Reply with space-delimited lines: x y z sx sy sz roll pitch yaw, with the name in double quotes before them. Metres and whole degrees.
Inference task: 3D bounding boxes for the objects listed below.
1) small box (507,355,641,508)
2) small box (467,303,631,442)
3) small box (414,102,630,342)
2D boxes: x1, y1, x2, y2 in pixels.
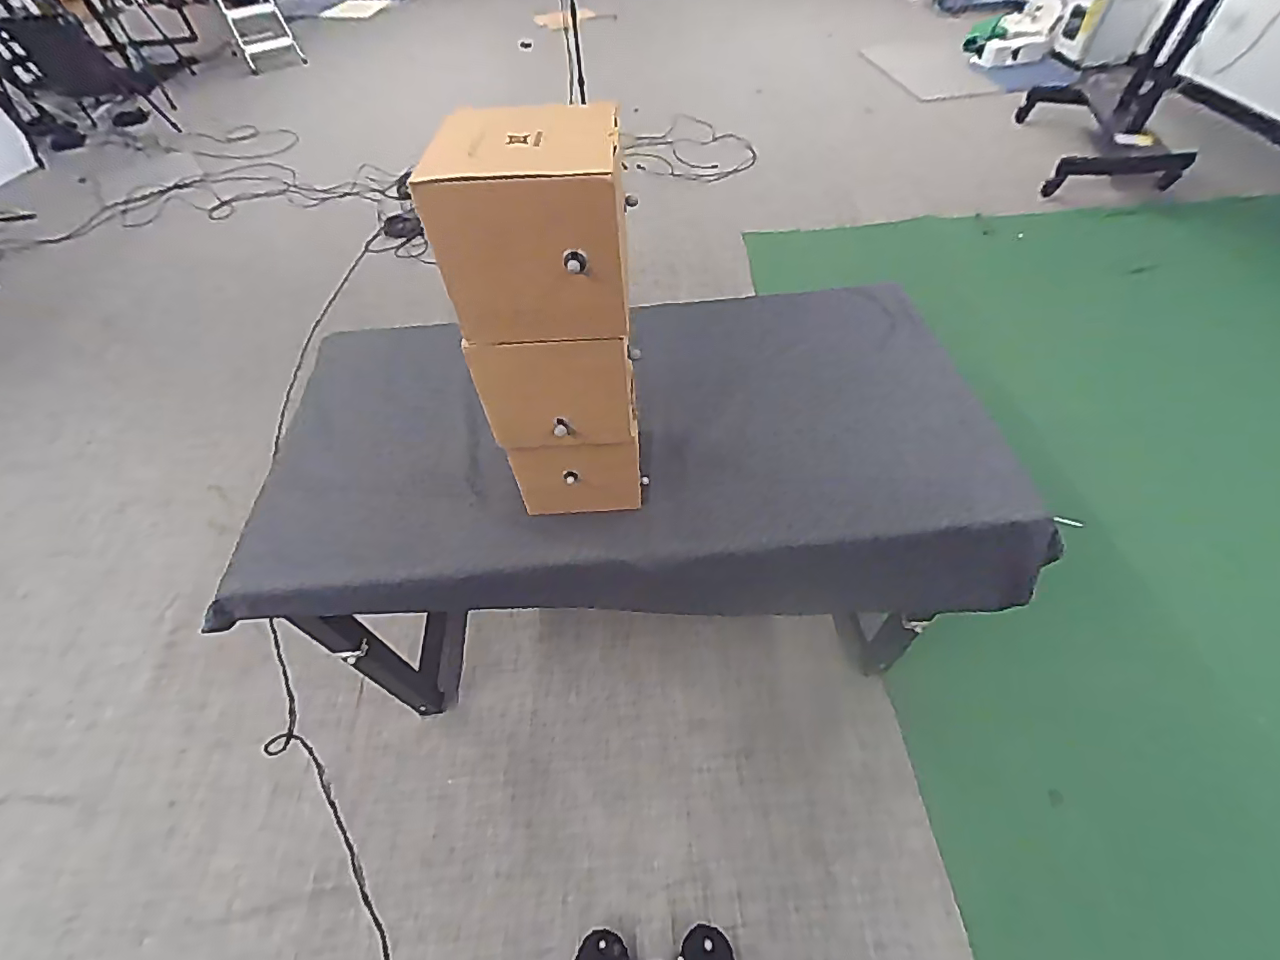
"small box" -0.089 -0.071 0.826 0.179 0.176 0.168 -4 52 2
"small box" -0.100 -0.163 0.692 0.179 0.176 0.168 -3 52 1
"small box" -0.101 -0.262 0.562 0.179 0.176 0.168 -3 51 2
